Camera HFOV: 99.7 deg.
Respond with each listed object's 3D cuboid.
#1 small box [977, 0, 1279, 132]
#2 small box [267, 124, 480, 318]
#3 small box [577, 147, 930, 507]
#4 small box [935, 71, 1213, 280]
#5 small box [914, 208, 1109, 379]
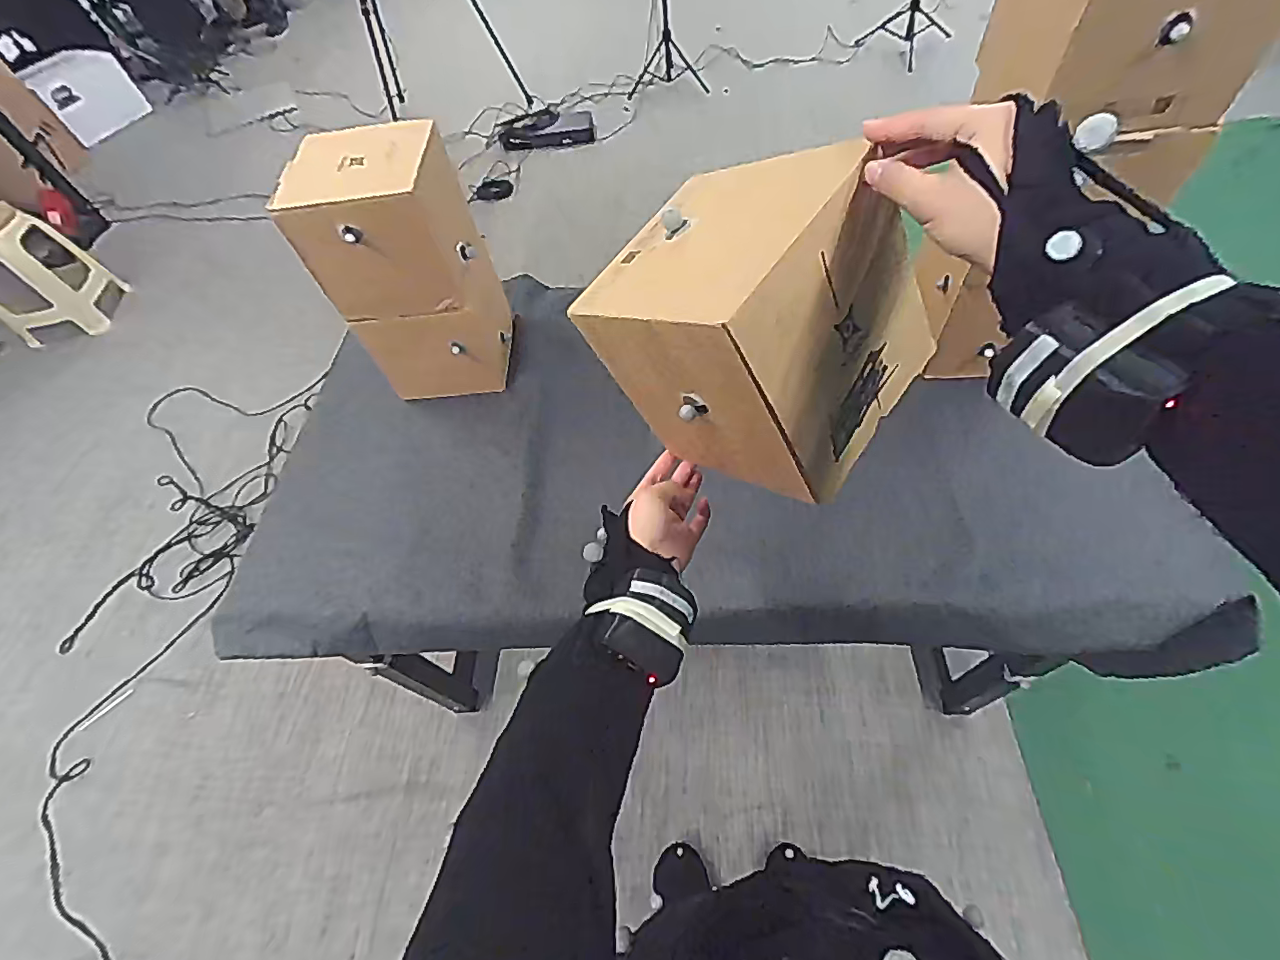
[{"bbox_3d":[0.437,-0.434,0.479,0.168,0.176,0.179,-1,57,7],"label":"small box"},{"bbox_3d":[-0.332,-0.333,0.715,0.179,0.176,0.168,-5,59,3],"label":"small box"},{"bbox_3d":[0.087,-0.112,0.418,0.168,0.179,0.176,-51,39,-14],"label":"small box"},{"bbox_3d":[0.463,-0.346,0.617,0.168,0.176,0.179,0,59,8],"label":"small box"},{"bbox_3d":[0.486,-0.262,0.756,0.168,0.176,0.179,0,58,8],"label":"small box"}]
